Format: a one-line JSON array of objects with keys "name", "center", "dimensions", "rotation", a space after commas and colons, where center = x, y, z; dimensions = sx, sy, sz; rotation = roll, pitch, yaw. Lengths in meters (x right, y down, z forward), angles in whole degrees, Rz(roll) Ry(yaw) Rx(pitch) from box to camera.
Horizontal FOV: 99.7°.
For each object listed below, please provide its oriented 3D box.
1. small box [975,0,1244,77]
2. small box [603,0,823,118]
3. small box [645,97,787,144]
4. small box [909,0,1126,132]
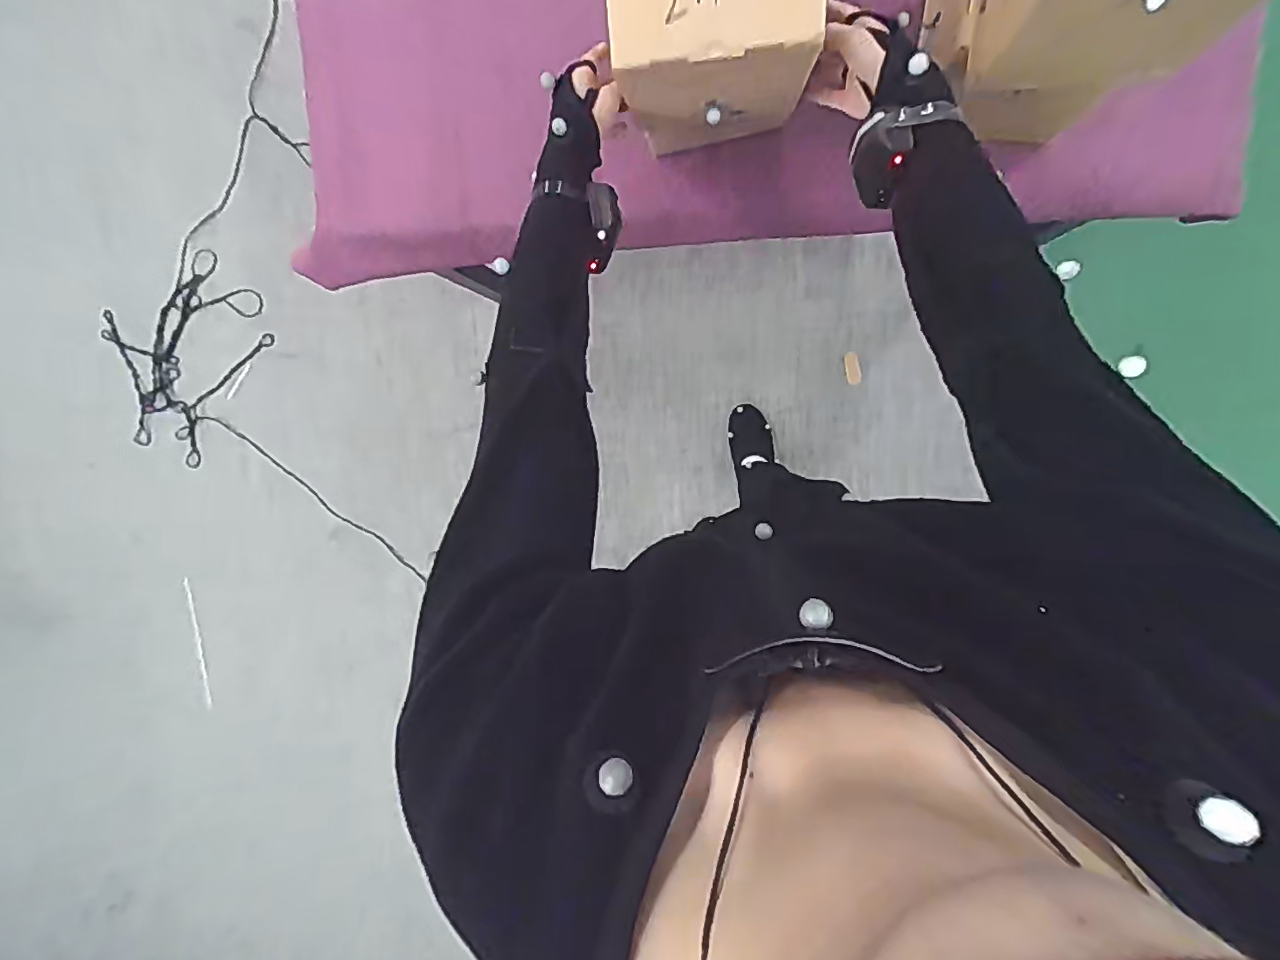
[{"name": "small box", "center": [0.390, -0.449, 0.418], "dimensions": [0.179, 0.176, 0.168], "rotation": [3, 98, 9]}, {"name": "small box", "center": [0.059, -0.442, 0.460], "dimensions": [0.168, 0.176, 0.179], "rotation": [-1, 108, 8]}, {"name": "small box", "center": [0.079, -0.508, 0.611], "dimensions": [0.179, 0.176, 0.168], "rotation": [-8, 107, 10]}, {"name": "small box", "center": [0.416, -0.499, 0.574], "dimensions": [0.179, 0.176, 0.168], "rotation": [9, 98, 9]}]
